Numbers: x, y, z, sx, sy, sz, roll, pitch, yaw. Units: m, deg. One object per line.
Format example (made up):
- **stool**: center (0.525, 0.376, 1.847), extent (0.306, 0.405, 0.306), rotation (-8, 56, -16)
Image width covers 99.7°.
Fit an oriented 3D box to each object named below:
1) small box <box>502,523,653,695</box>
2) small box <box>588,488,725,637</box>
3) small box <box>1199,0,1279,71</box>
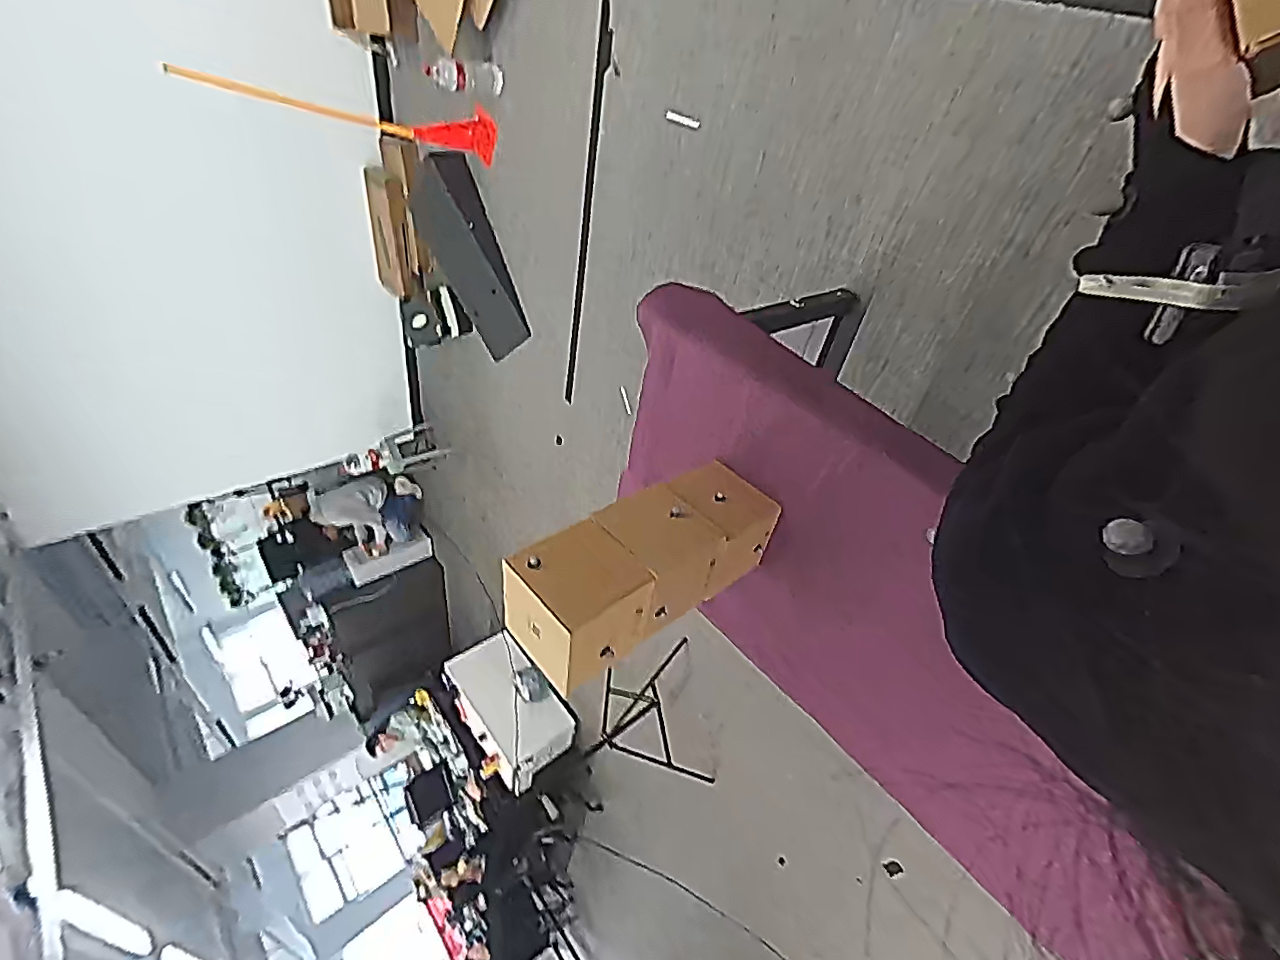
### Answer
- **small box**: center (-0.100, 0.195, 0.865), extent (0.179, 0.176, 0.168), rotation (37, 135, 33)
- **small box**: center (0.021, 0.134, 0.957), extent (0.179, 0.176, 0.168), rotation (37, 136, 33)
- **small box**: center (0.380, -0.334, 0.253), extent (0.168, 0.176, 0.179), rotation (-11, 99, 46)
